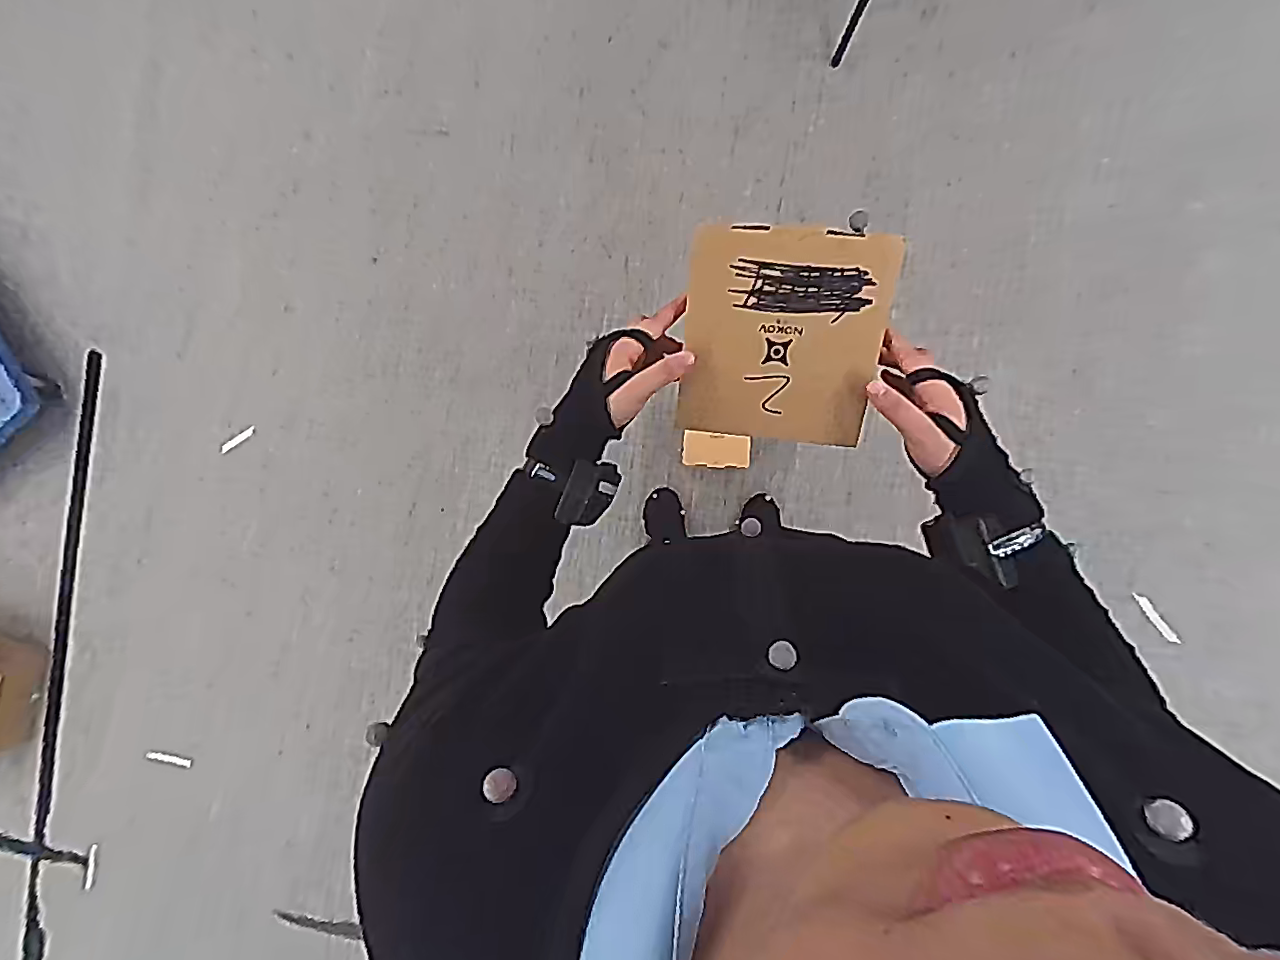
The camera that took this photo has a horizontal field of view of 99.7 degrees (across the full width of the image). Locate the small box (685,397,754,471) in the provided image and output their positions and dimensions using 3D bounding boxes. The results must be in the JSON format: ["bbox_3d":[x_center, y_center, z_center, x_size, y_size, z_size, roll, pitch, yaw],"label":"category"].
[{"bbox_3d":[0.203,-0.116,1.413,0.168,0.176,0.179,2,91,6],"label":"small box"}]
